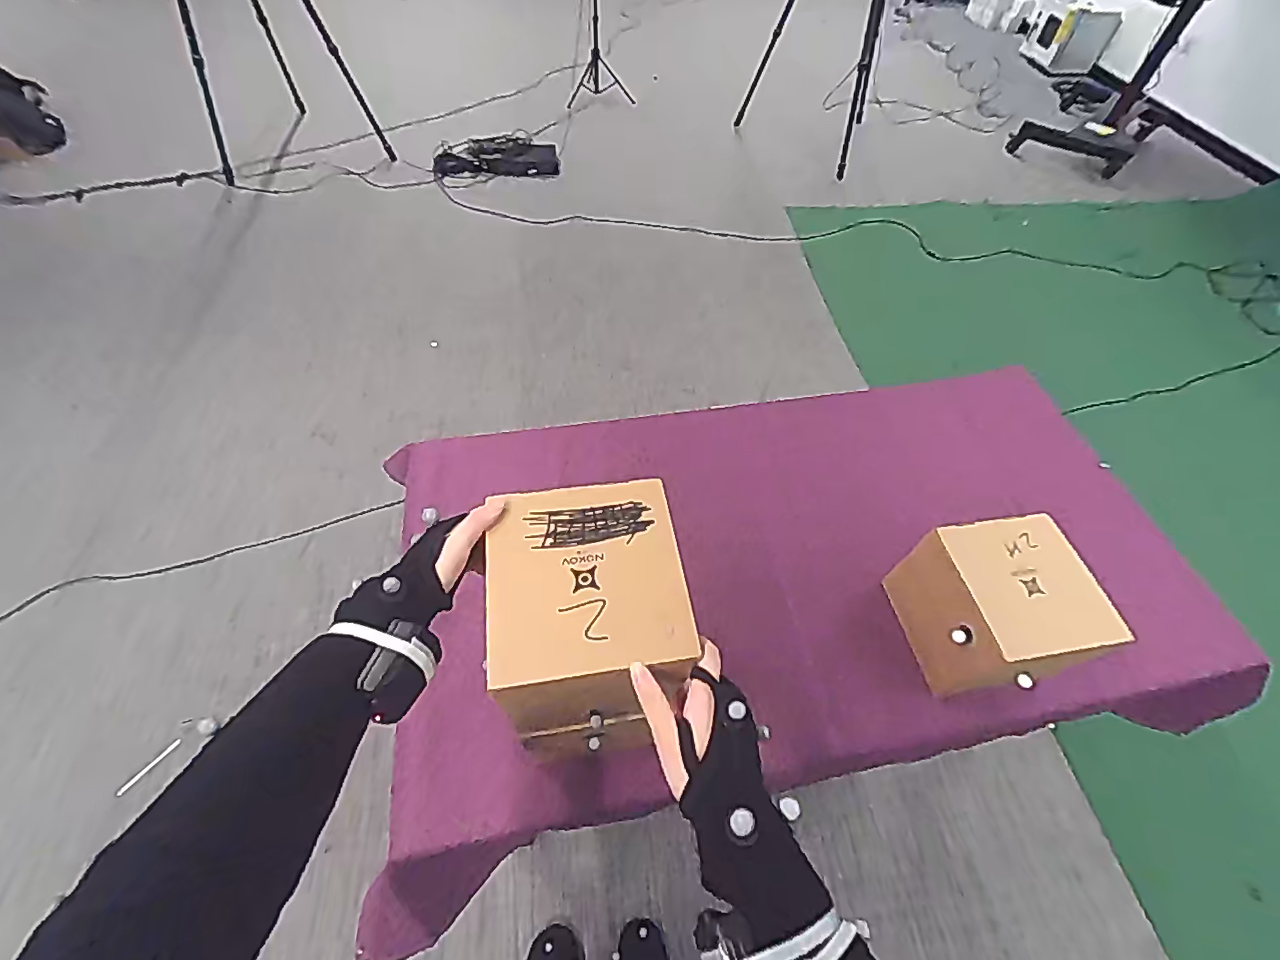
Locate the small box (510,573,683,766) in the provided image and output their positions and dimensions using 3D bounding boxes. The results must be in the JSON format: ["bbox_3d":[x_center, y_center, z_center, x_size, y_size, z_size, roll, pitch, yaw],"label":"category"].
[{"bbox_3d":[-0.056,0.232,0.653,0.179,0.176,0.168,-6,55,-8],"label":"small box"}]

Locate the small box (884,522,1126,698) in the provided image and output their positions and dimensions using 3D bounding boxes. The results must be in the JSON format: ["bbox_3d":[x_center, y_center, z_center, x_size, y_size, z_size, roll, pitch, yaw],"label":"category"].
[{"bbox_3d":[0.461,0.179,0.719,0.168,0.176,0.179,-6,55,-8],"label":"small box"}]
